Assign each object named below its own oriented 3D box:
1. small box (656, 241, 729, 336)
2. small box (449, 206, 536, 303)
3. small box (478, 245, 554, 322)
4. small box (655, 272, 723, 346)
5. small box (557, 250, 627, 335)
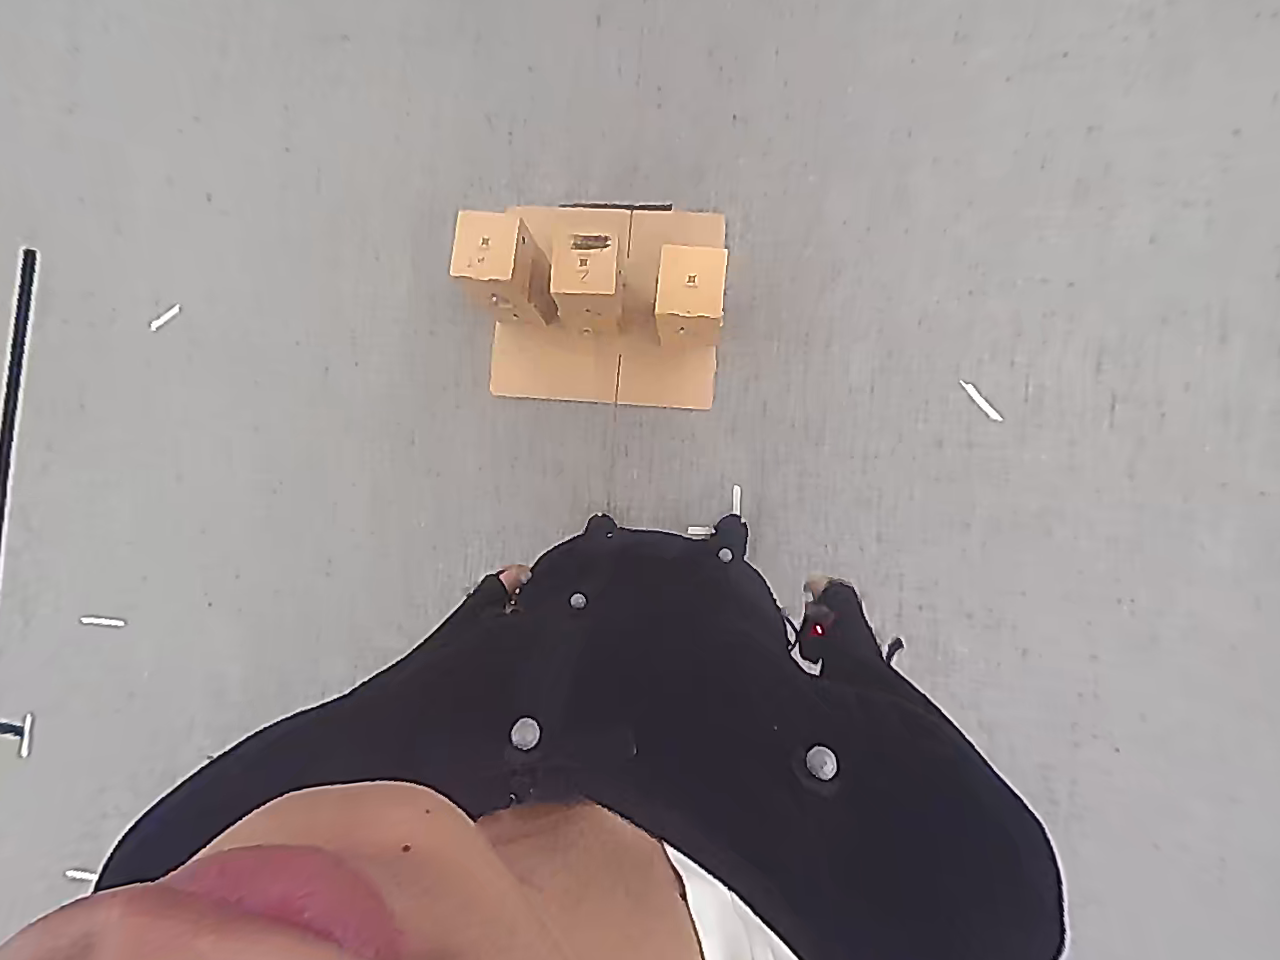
[{"bbox_3d":[0.132,-0.488,1.394,0.168,0.176,0.179,5,89,4],"label":"small box"},{"bbox_3d":[-0.383,-0.593,1.434,0.168,0.176,0.179,7,89,5],"label":"small box"},{"bbox_3d":[-0.361,-0.579,1.597,0.168,0.176,0.179,7,89,5],"label":"small box"},{"bbox_3d":[0.141,-0.494,1.557,0.179,0.176,0.168,-4,88,4],"label":"small box"},{"bbox_3d":[-0.134,-0.541,1.579,0.168,0.176,0.179,8,88,4],"label":"small box"}]
